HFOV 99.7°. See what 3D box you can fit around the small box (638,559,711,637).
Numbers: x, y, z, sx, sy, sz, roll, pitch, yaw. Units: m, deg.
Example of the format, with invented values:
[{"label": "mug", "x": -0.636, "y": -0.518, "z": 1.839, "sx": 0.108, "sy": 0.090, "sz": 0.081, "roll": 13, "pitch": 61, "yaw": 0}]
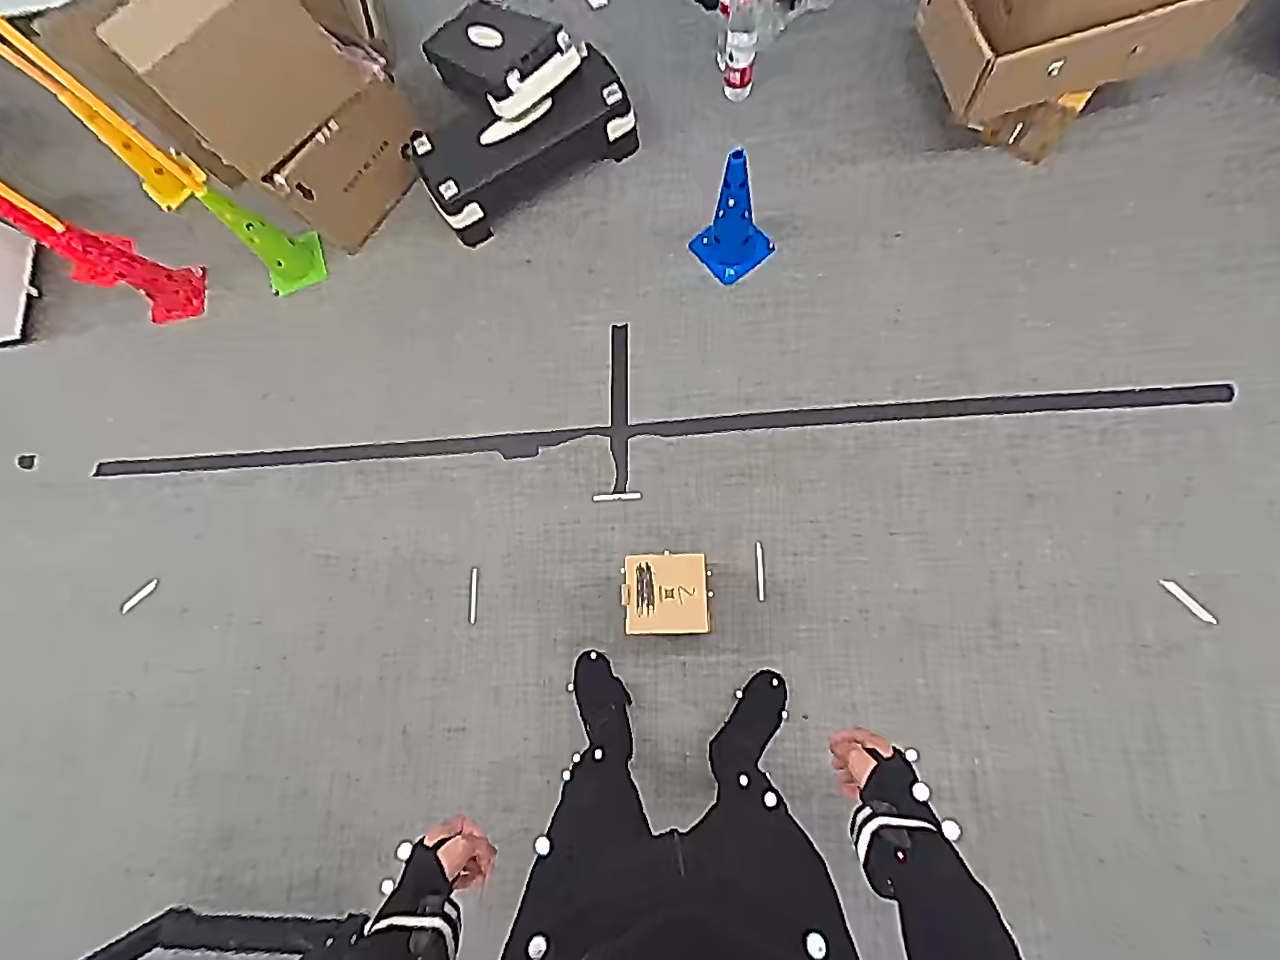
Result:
[{"label": "small box", "x": 0.092, "y": 0.298, "z": 1.375, "sx": 0.168, "sy": 0.176, "sz": 0.179, "roll": -6, "pitch": 77, "yaw": 6}]
